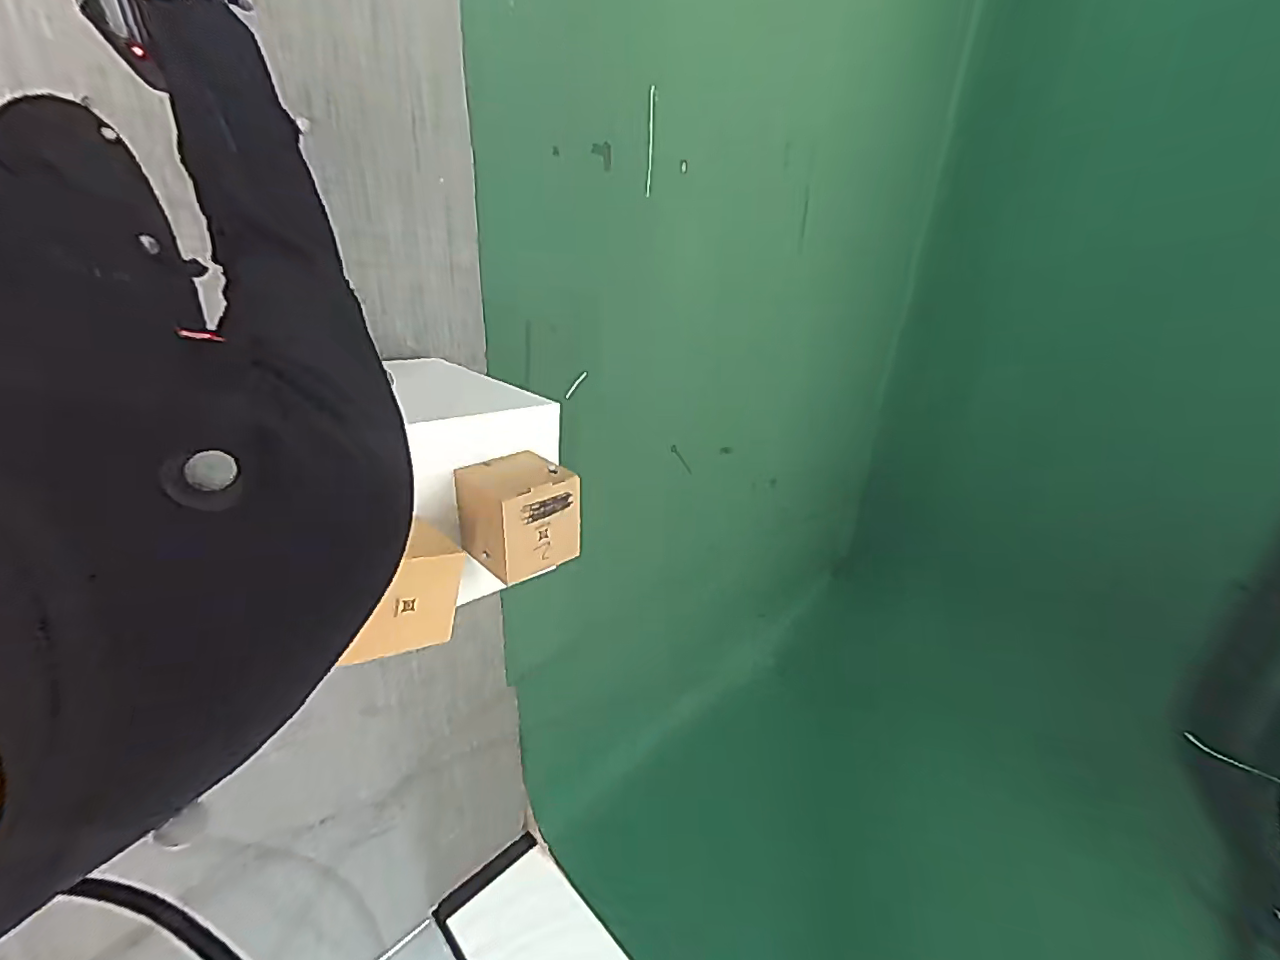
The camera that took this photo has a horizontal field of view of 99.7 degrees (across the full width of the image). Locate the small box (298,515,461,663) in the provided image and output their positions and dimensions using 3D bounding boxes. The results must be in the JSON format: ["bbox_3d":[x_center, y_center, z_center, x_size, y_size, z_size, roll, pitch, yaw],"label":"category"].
[{"bbox_3d":[-0.422,0.161,0.875,0.179,0.176,0.168,0,109,-48],"label":"small box"}]
